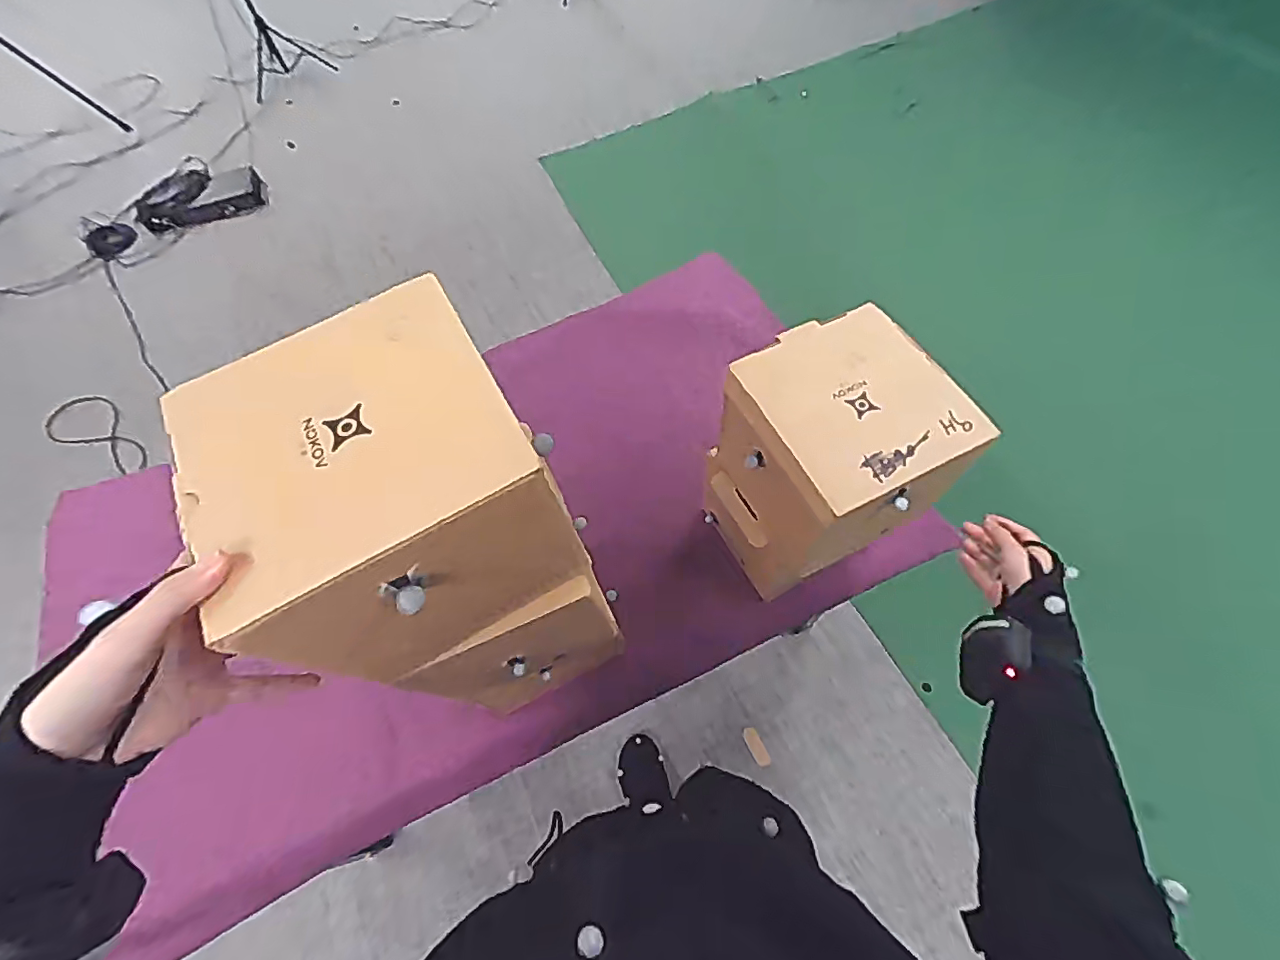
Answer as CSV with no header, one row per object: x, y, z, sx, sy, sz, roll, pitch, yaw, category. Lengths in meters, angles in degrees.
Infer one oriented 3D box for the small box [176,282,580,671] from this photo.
-0.154,0.009,0.372,0.179,0.176,0.168,-29,65,-8,small box

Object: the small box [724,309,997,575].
0.197,-0.032,0.550,0.168,0.176,0.179,-25,63,-8,small box

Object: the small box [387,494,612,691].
-0.136,0.087,0.514,0.168,0.176,0.179,-22,63,-6,small box

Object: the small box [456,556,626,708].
-0.131,0.160,0.661,0.179,0.176,0.168,-25,63,-9,small box
